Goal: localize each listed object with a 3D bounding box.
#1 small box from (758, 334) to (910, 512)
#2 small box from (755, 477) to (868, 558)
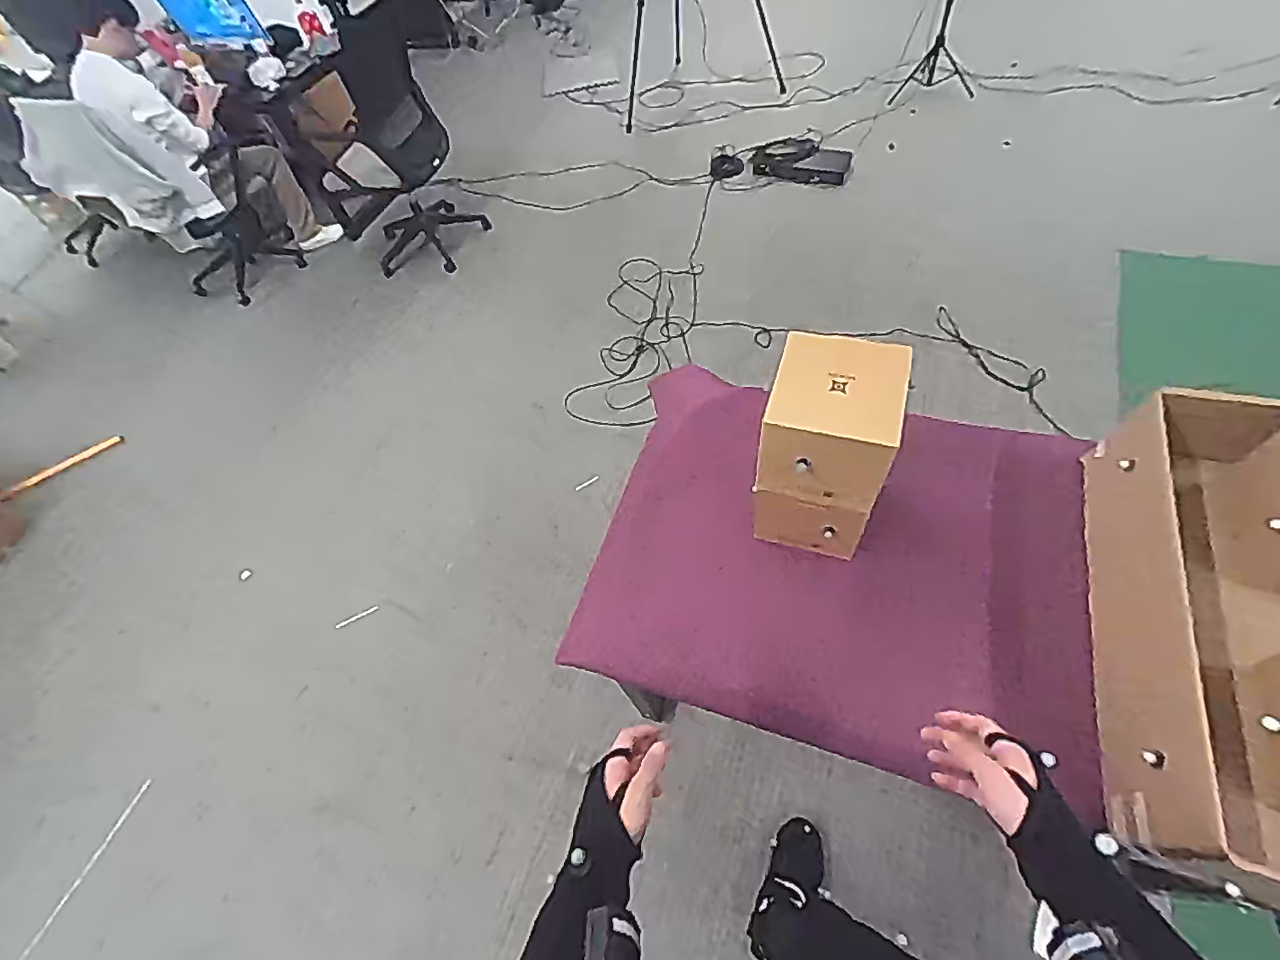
[{"bbox_3d":[0.268,-0.077,0.772,0.168,0.176,0.179,13,59,17],"label":"small box"},{"bbox_3d":[0.293,0.008,0.907,0.168,0.176,0.179,13,60,17],"label":"small box"}]
